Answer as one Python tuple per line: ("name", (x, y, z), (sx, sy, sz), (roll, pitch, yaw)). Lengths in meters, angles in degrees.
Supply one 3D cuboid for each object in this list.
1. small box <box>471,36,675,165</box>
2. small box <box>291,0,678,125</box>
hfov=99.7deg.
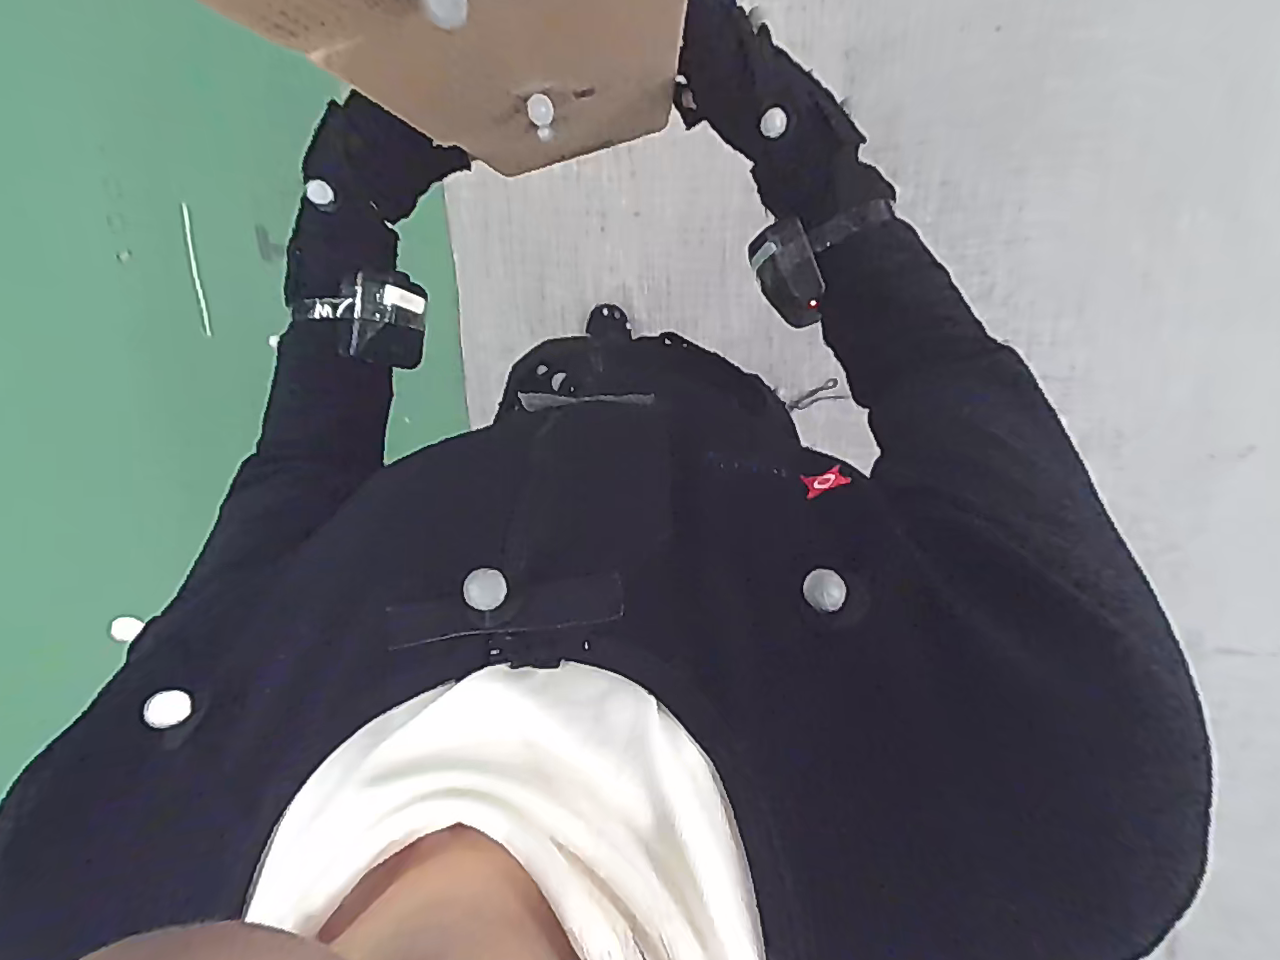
("small box", (-0.074, -0.370, 0.411), (0.168, 0.176, 0.179), (-13, 109, 6))
("small box", (-0.078, -0.308, 0.259), (0.168, 0.176, 0.179), (-13, 111, 6))
